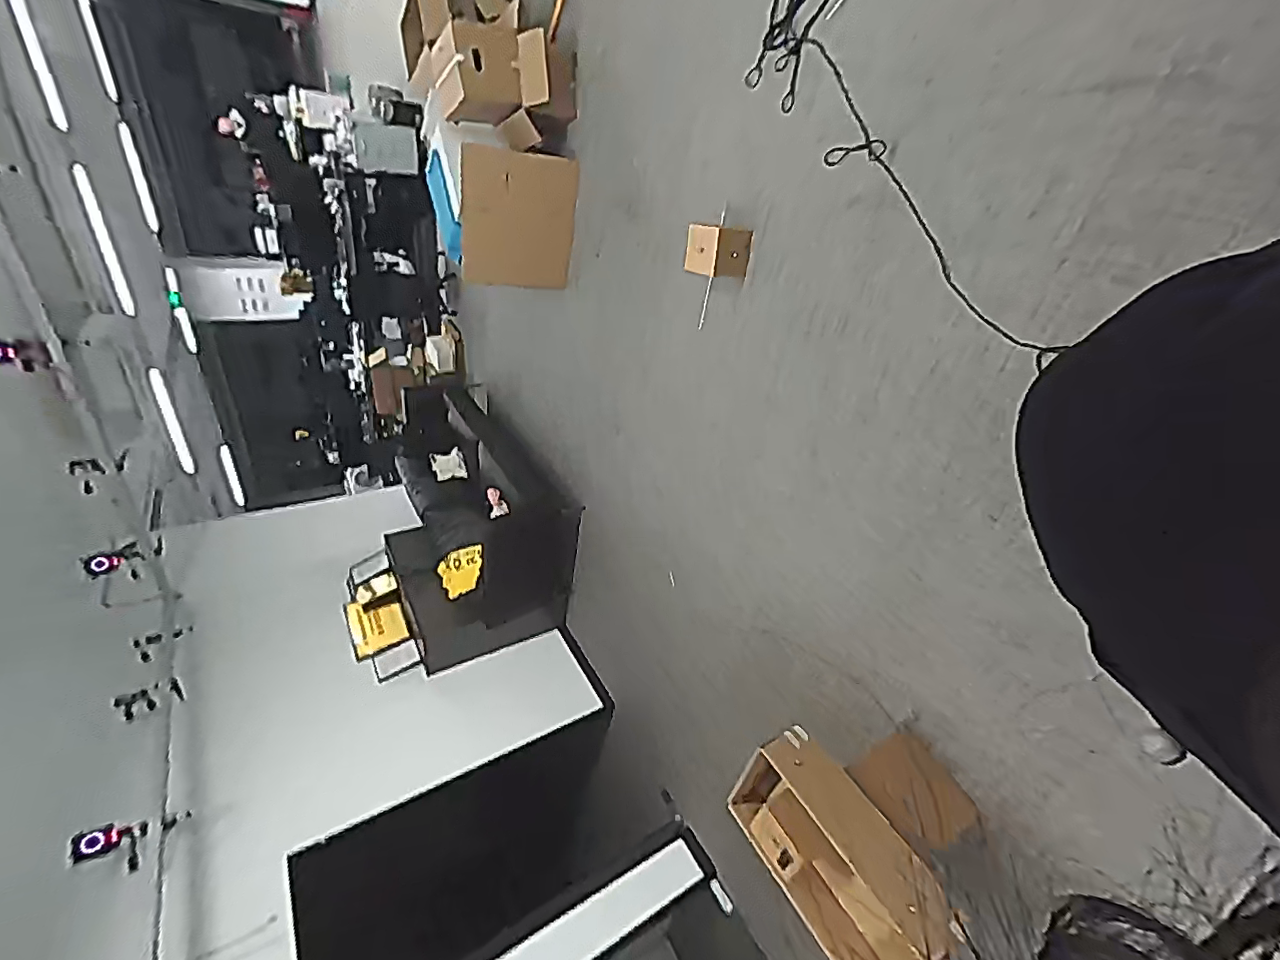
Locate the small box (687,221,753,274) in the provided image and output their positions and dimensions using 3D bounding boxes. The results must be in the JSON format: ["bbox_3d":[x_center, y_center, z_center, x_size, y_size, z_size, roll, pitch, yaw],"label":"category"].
[{"bbox_3d":[0.301,-0.880,2.039,0.179,0.176,0.168,39,134,46],"label":"small box"}]
